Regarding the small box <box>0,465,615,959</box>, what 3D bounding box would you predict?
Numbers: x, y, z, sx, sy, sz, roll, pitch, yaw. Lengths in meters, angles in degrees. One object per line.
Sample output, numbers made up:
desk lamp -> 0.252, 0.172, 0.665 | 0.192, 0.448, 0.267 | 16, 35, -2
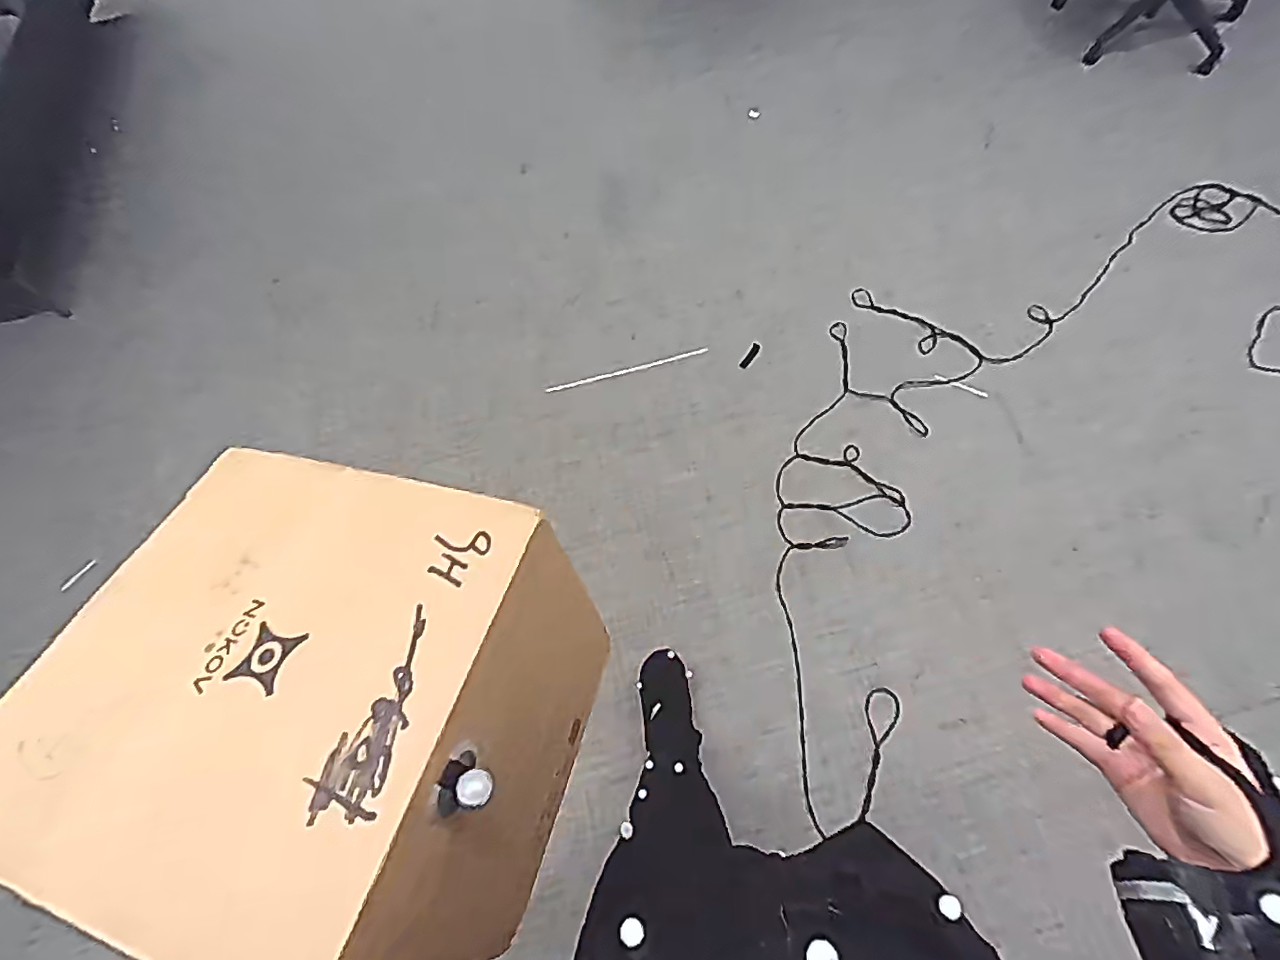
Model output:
small box -> -0.129, 0.116, 0.275 | 0.179, 0.176, 0.168 | 9, 58, 16
